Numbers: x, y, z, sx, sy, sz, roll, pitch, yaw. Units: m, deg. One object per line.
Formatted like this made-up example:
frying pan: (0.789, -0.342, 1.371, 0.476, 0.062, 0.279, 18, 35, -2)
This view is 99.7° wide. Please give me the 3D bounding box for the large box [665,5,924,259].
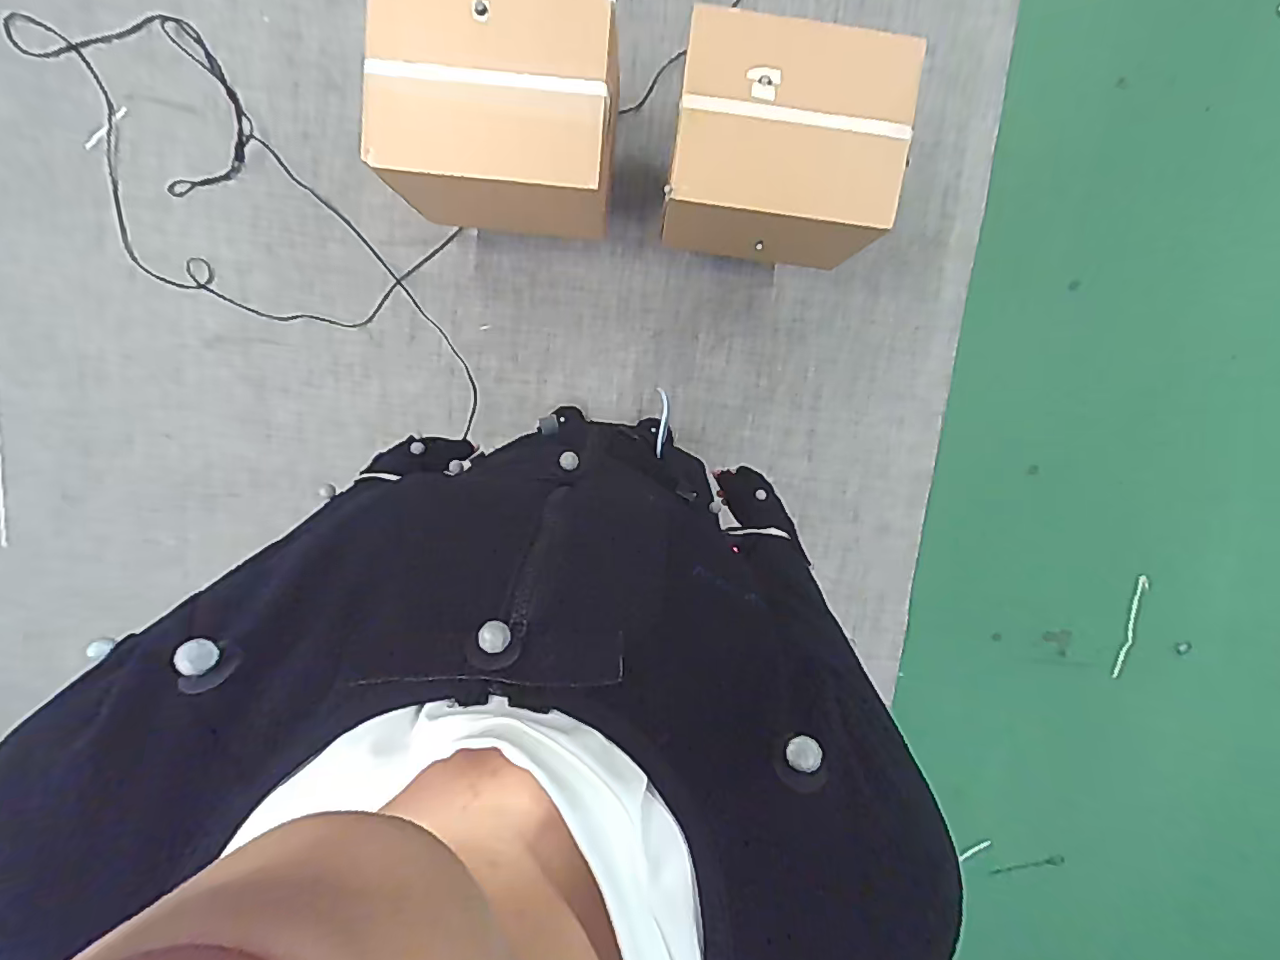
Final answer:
large box: (0.273, -0.657, 1.088, 0.408, 0.320, 0.320, 8, 99, -2)
